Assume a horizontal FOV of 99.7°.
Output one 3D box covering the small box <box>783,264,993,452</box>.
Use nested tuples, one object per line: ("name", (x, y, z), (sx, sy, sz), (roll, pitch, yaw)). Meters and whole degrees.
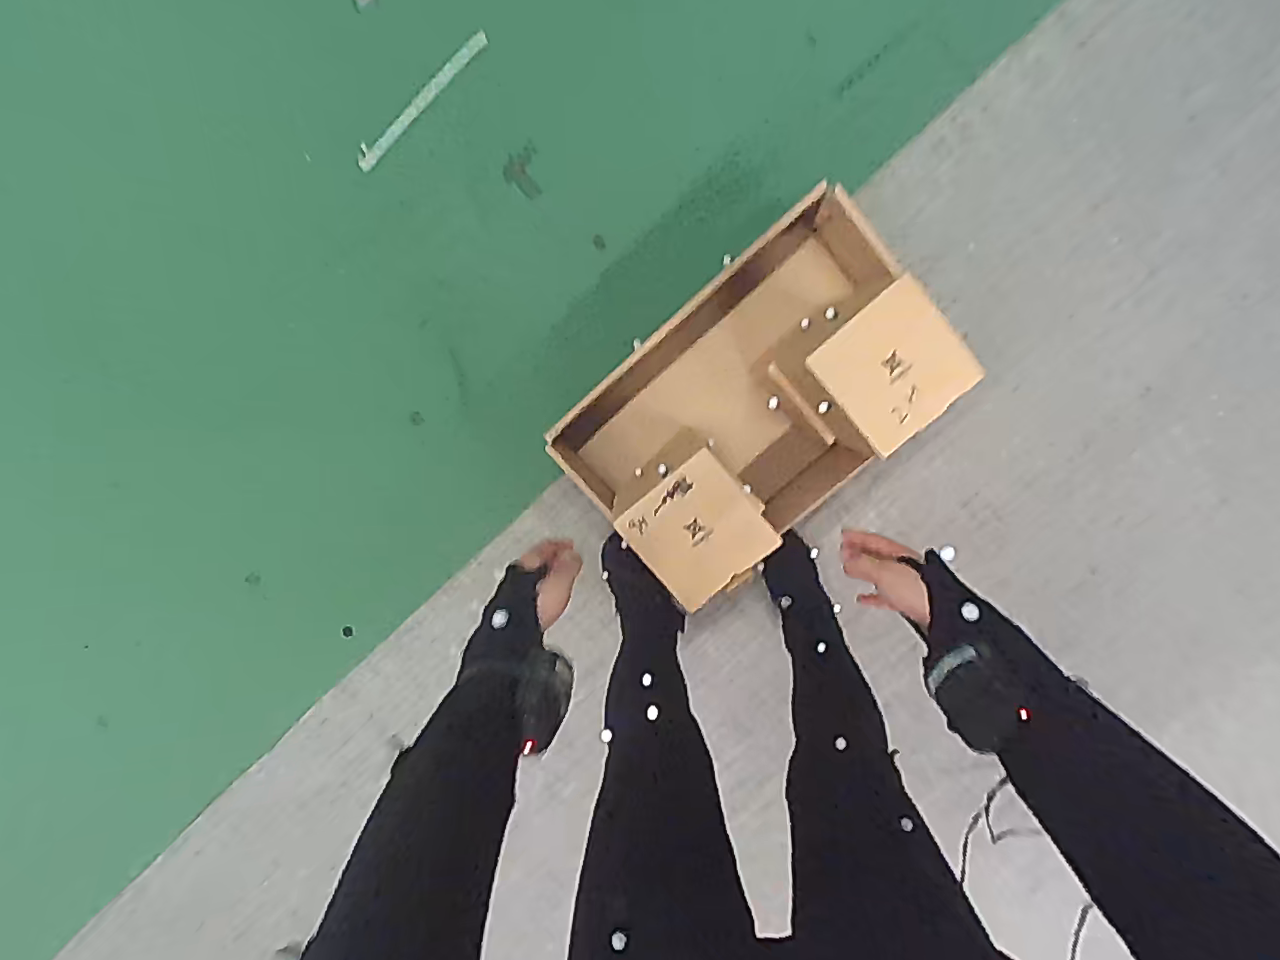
("small box", (0.329, -0.164, 0.756), (0.168, 0.176, 0.179), (-41, 100, 8))

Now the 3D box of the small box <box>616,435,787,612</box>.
("small box", (0.082, 0.053, 0.797), (0.168, 0.176, 0.179), (-39, 101, 7))
